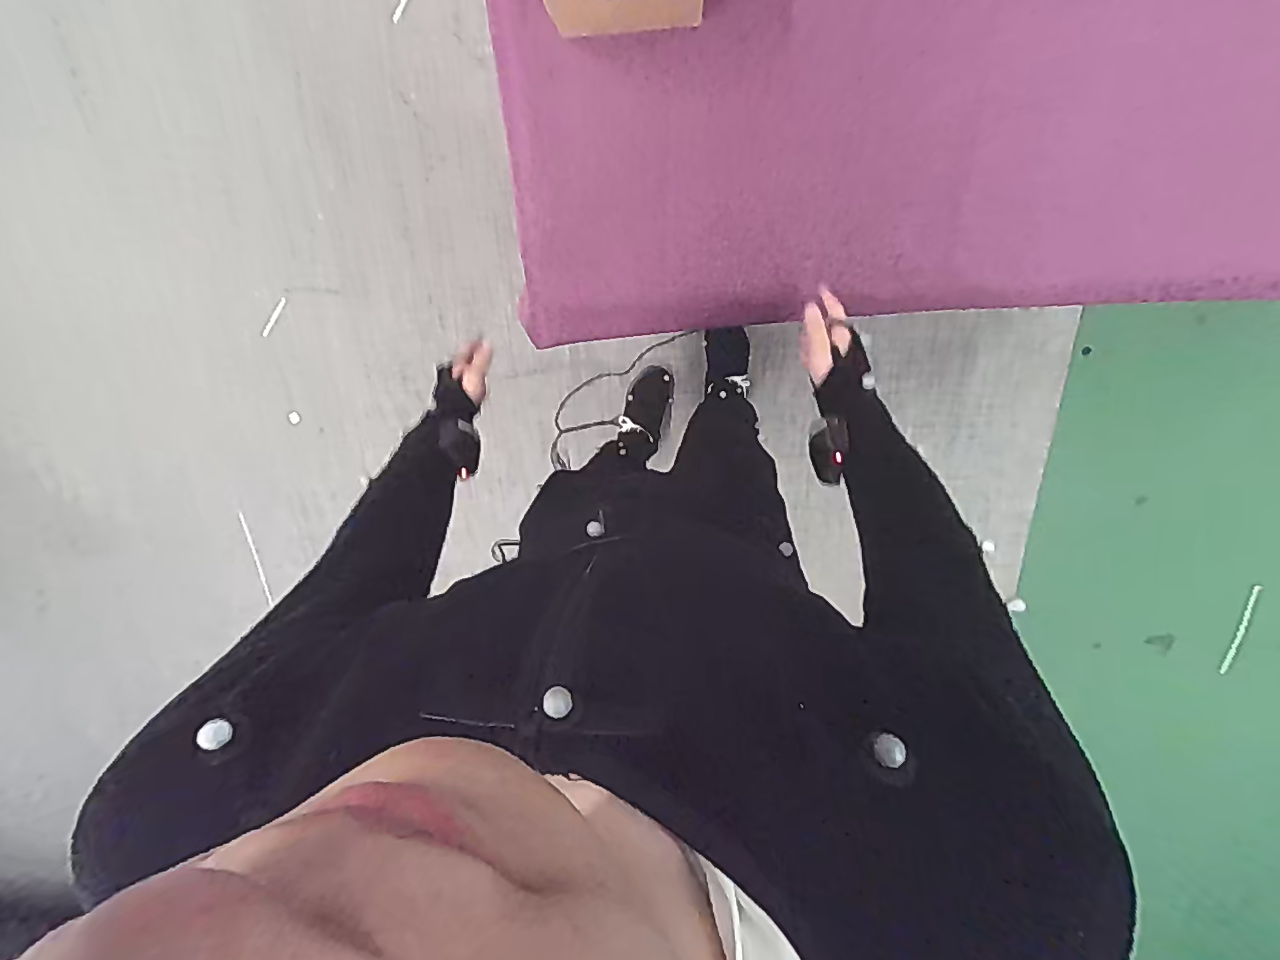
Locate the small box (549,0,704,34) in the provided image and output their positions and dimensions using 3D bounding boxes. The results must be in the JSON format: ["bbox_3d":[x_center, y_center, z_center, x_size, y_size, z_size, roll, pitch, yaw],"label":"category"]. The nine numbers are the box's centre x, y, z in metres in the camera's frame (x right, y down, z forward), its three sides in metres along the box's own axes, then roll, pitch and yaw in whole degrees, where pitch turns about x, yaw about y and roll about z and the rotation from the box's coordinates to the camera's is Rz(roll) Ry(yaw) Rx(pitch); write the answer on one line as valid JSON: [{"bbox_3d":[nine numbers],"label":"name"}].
[{"bbox_3d":[-0.021,-0.594,0.557,0.179,0.176,0.168,-1,111,5],"label":"small box"}]
